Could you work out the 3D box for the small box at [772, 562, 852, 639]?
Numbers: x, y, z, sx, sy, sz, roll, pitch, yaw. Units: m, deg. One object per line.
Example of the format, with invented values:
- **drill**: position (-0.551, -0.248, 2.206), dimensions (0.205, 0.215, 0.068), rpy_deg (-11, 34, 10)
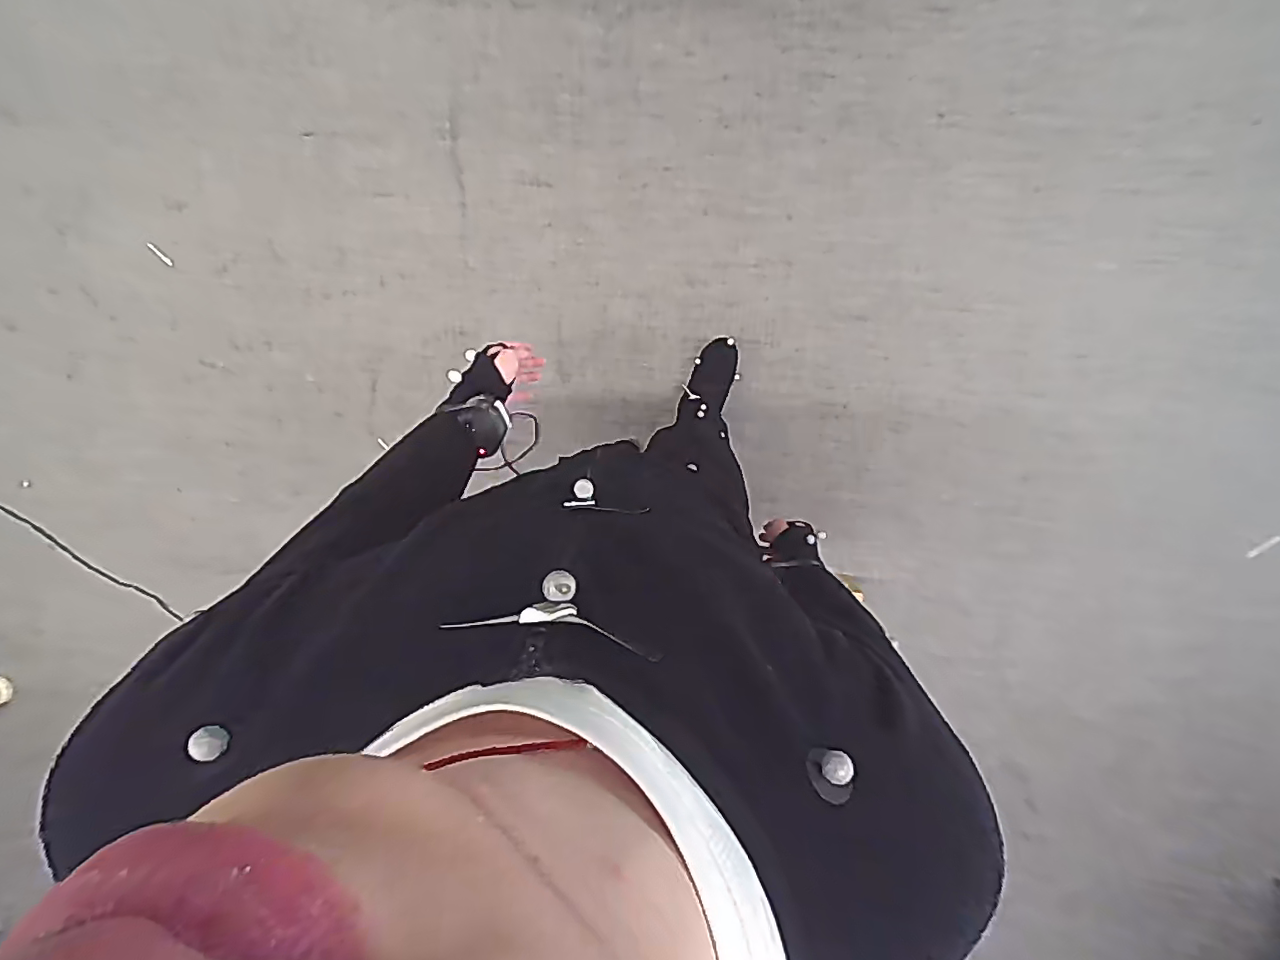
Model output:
- **small box**: position (0.475, 0.334, 1.522), dimensions (0.179, 0.176, 0.168), rpy_deg (2, 97, 1)
